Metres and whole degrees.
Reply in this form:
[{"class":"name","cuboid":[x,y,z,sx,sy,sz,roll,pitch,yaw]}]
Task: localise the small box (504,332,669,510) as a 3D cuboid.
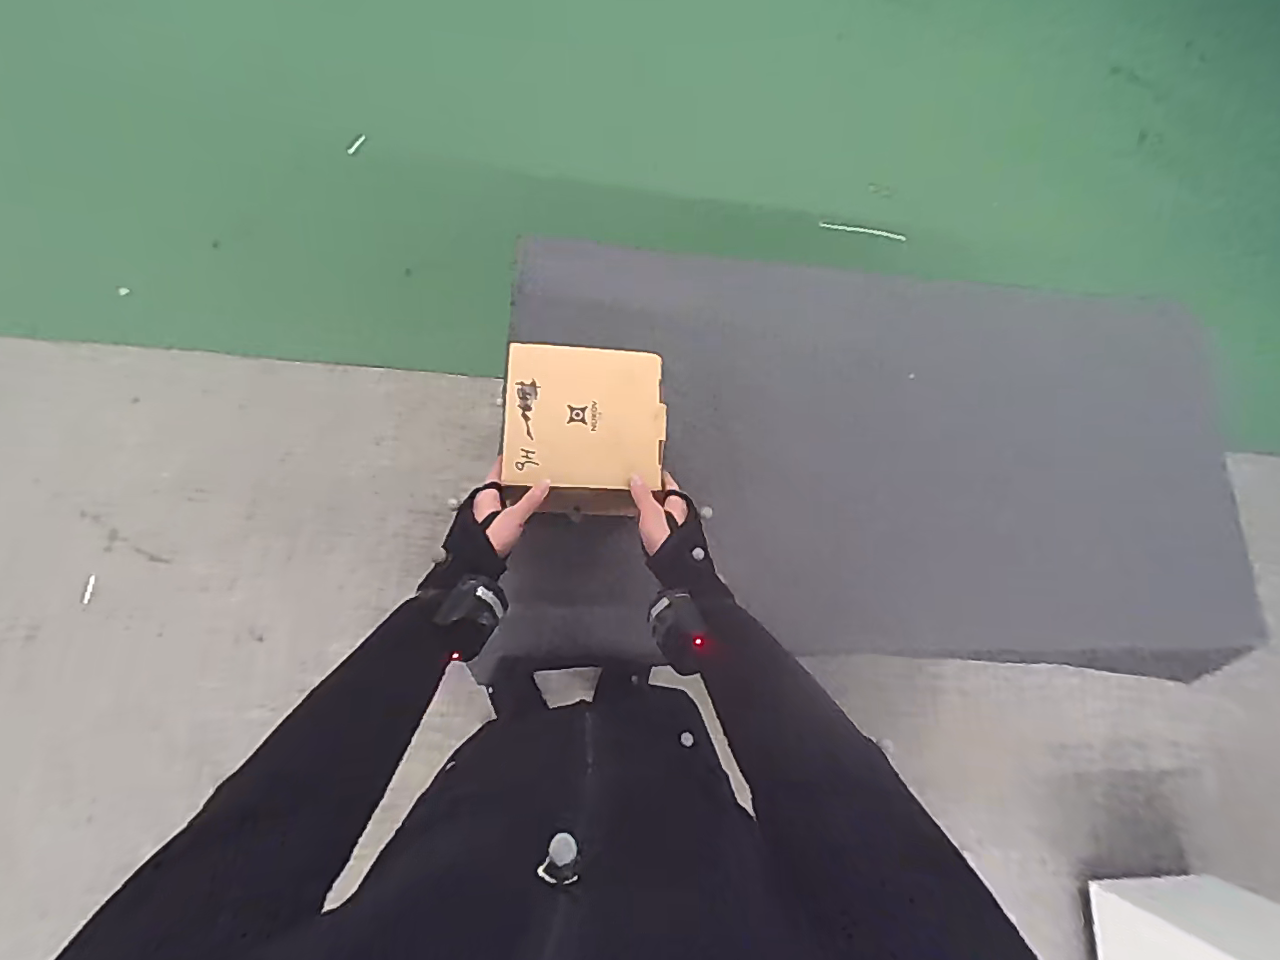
[{"class":"small box","cuboid":[-0.071,-0.059,0.669,0.179,0.176,0.168,4,76,-11]}]
